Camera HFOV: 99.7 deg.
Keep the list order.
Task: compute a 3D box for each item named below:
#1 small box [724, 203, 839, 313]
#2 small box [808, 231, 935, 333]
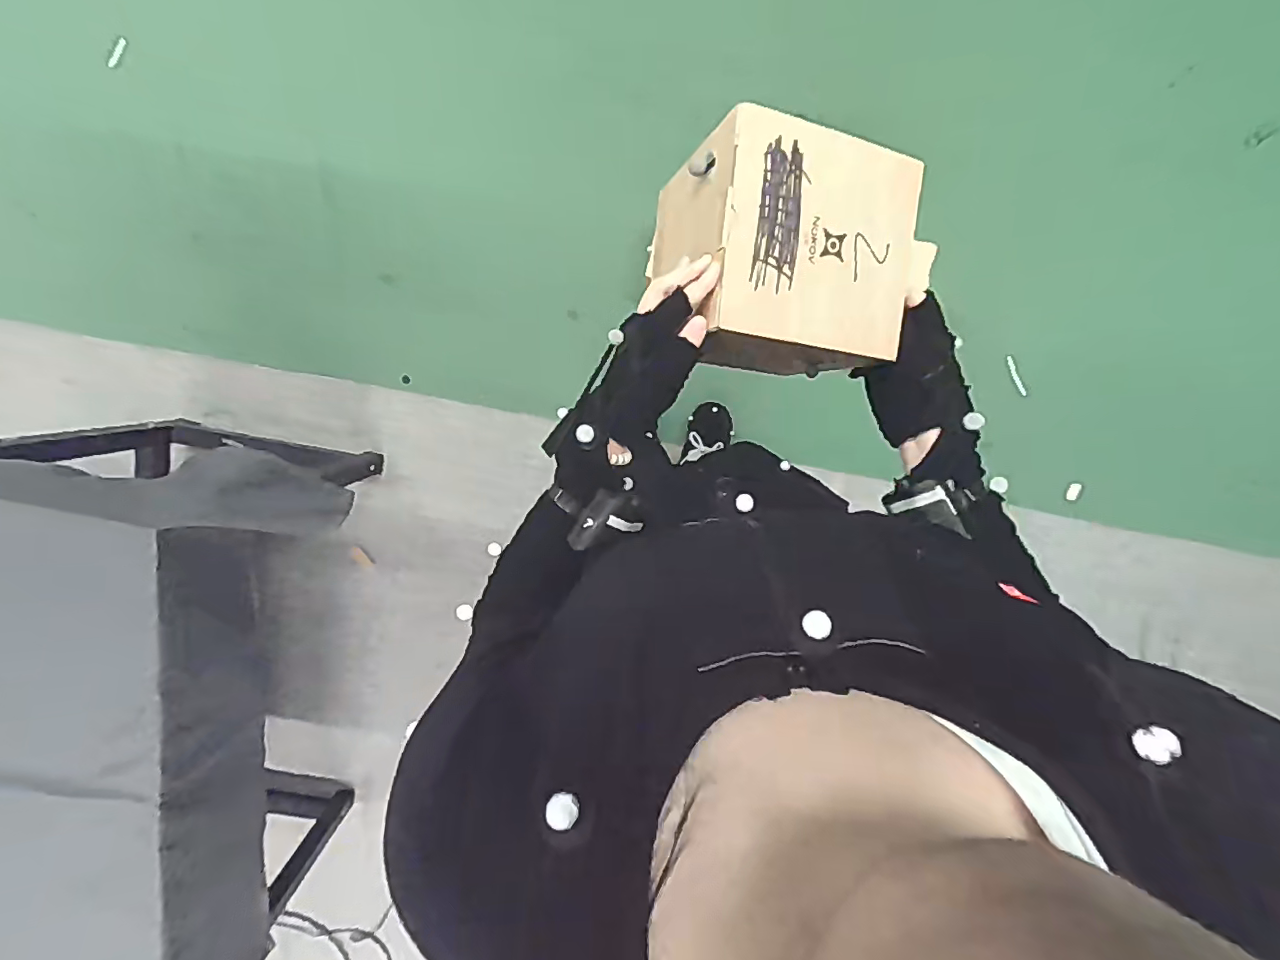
[{"bbox_3d":[0.293,-0.464,1.160,0.179,0.176,0.168,16,102,-1],"label":"small box"},{"bbox_3d":[0.489,-0.417,1.167,0.179,0.176,0.168,11,101,-1],"label":"small box"}]
